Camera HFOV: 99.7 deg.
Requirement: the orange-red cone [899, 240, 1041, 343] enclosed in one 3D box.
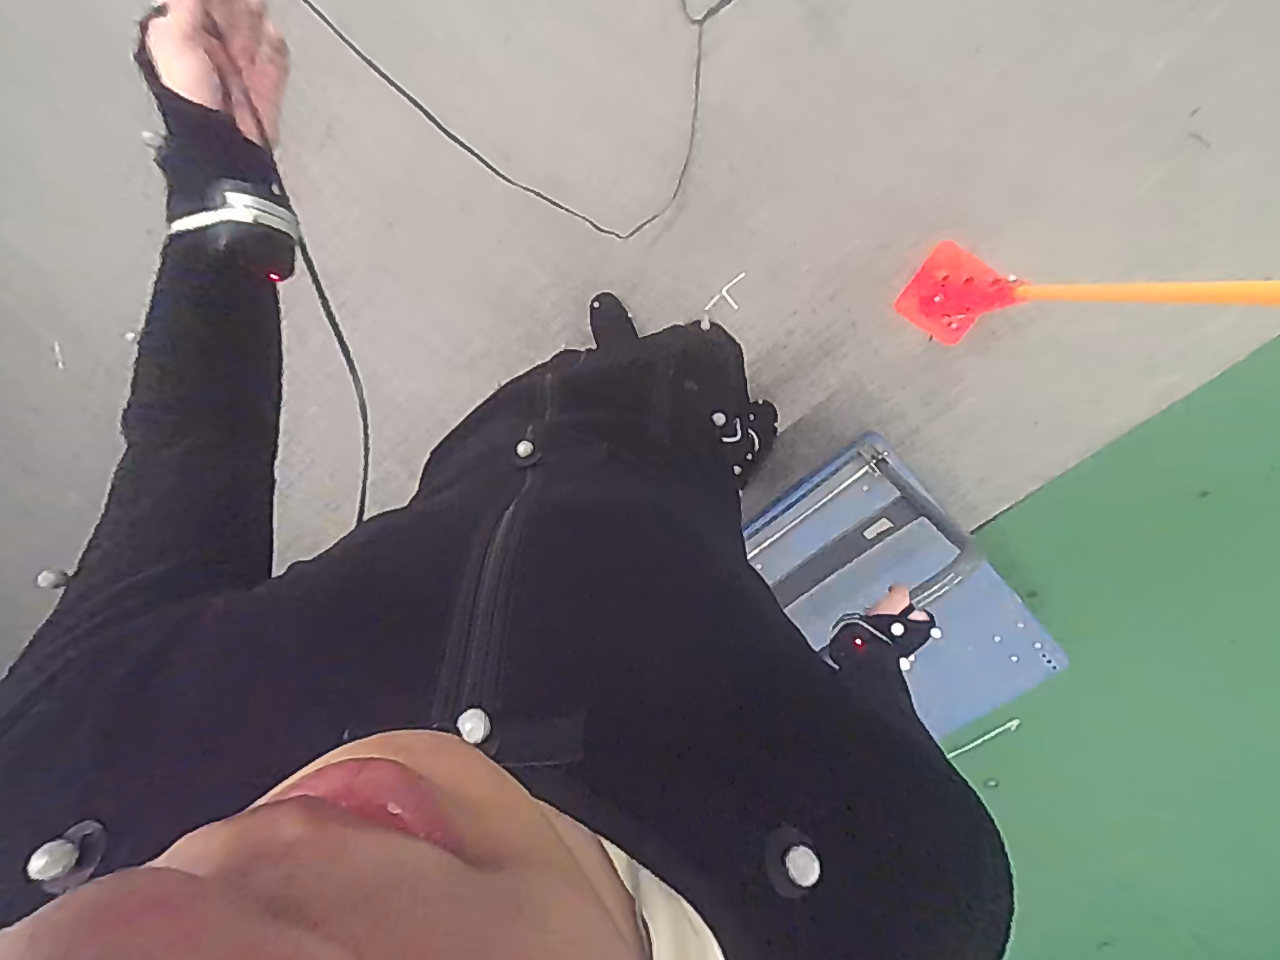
[{"bbox_3d":[0.777,-0.425,1.215,0.198,0.360,0.199,33,108,-5],"label":"orange-red cone"}]
